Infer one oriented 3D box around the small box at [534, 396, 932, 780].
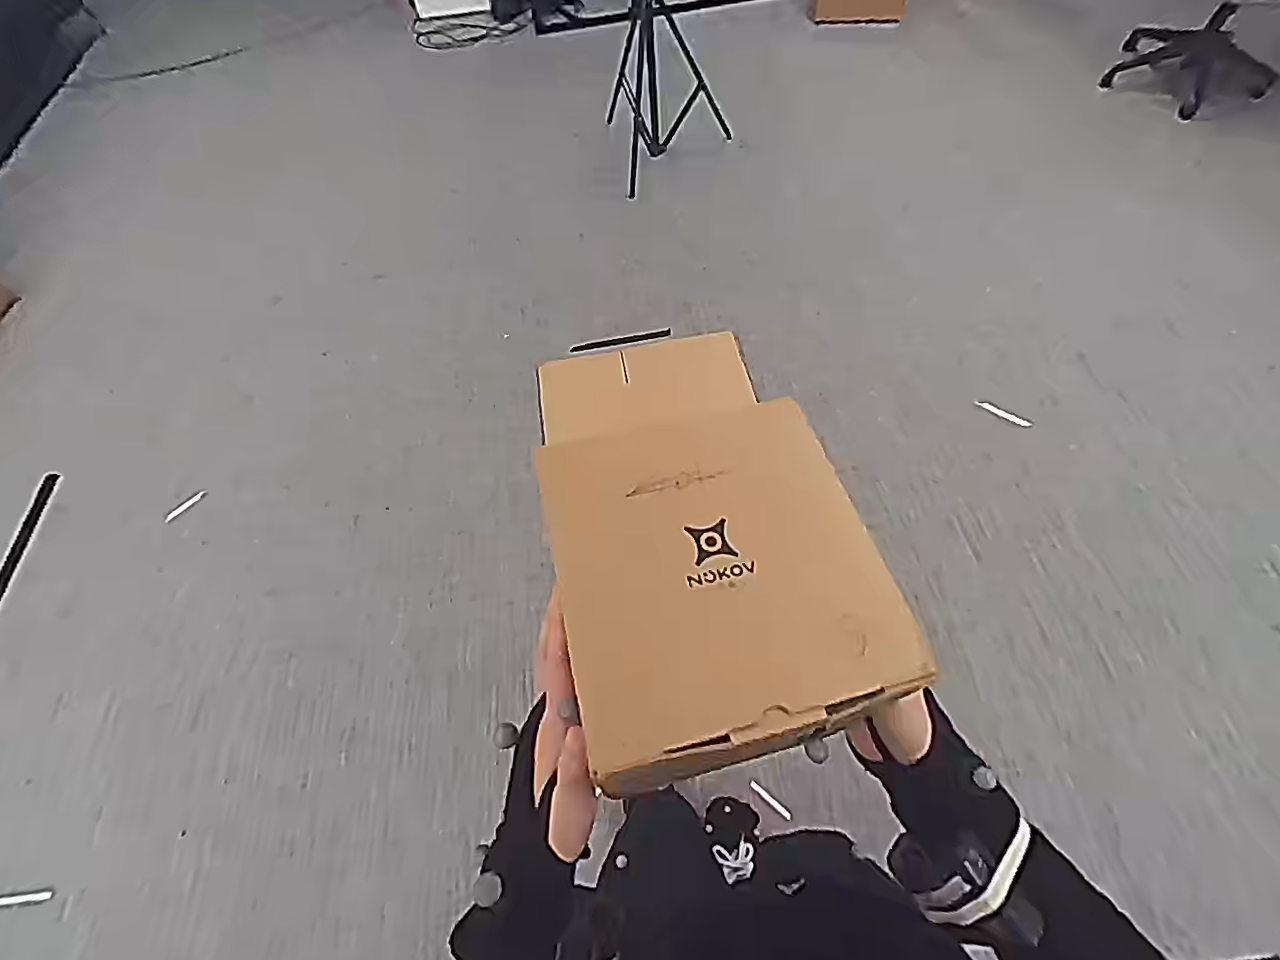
[{"bbox_3d":[0.037,0.077,0.347,0.168,0.176,0.179,-12,57,-9],"label":"small box"}]
